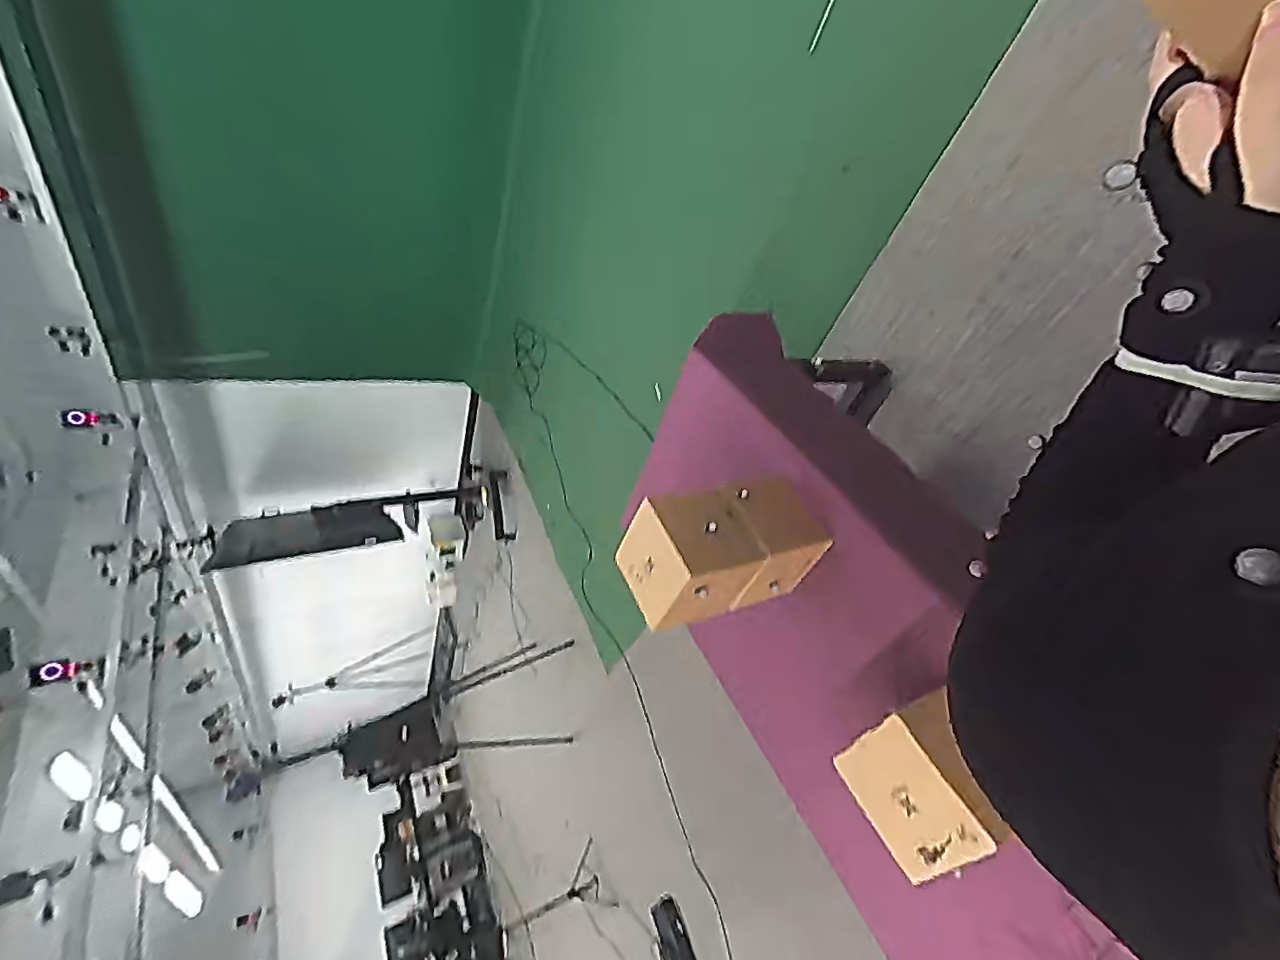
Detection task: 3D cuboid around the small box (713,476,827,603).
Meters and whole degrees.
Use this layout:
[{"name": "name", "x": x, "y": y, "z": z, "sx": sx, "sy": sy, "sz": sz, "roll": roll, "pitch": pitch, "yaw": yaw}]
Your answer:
[{"name": "small box", "x": 0.225, "y": 0.108, "z": 1.052, "sx": 0.179, "sy": 0.176, "sz": 0.168, "roll": 59, "pitch": 141, "yaw": 34}]

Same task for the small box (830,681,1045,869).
[{"name": "small box", "x": 0.425, "y": 0.415, "z": 0.787, "sx": 0.179, "sy": 0.176, "sz": 0.168, "roll": 59, "pitch": 141, "yaw": 35}]

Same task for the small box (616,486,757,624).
[{"name": "small box", "x": 0.084, "y": 0.128, "z": 0.969, "sx": 0.168, "sy": 0.176, "sz": 0.179, "roll": 61, "pitch": 142, "yaw": 33}]
